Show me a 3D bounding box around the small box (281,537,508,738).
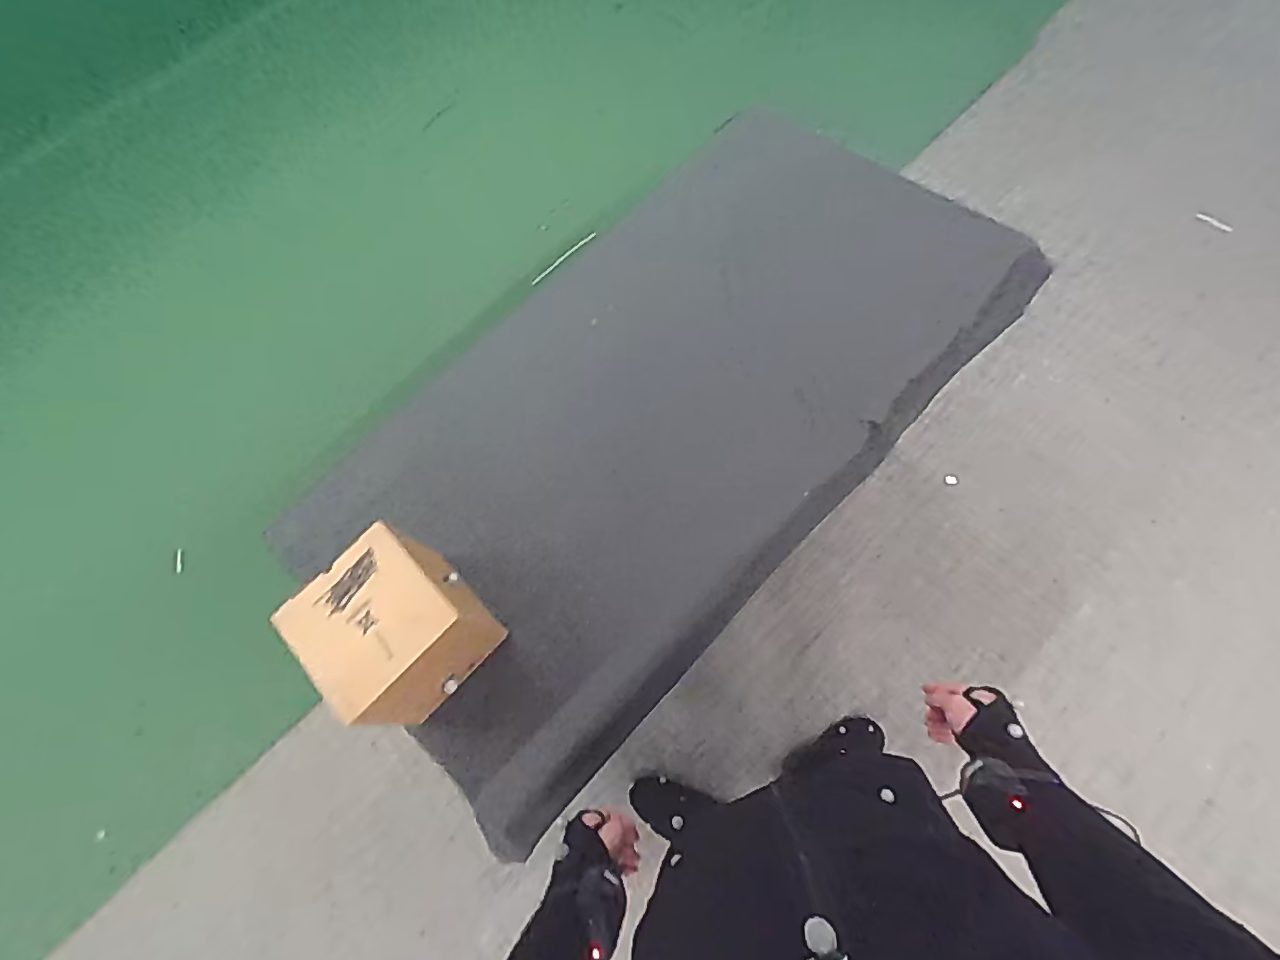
[{"bbox_3d":[-0.307,0.209,0.708,0.179,0.176,0.168,40,77,20],"label":"small box"}]
